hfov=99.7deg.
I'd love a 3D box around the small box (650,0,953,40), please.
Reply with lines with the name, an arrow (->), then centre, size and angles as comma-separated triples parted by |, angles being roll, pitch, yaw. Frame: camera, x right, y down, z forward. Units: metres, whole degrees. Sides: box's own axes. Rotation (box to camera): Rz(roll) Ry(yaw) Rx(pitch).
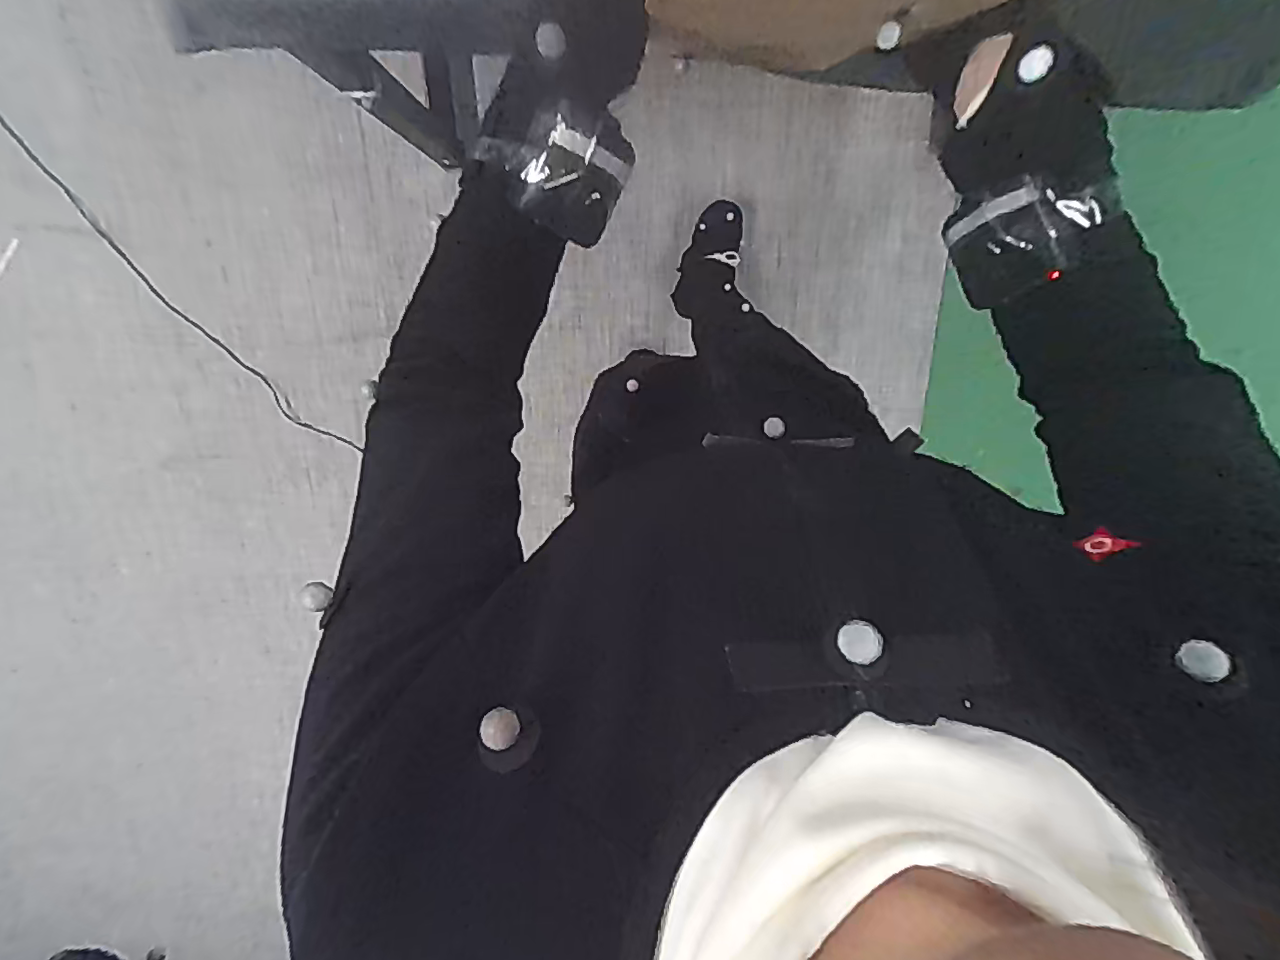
small box -> 0.093, -0.319, 0.241 | 0.179, 0.176, 0.168 | -3, 120, 1

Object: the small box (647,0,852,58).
small box -> 0.092, -0.425, 0.385 | 0.168, 0.176, 0.179 | 2, 119, -2
